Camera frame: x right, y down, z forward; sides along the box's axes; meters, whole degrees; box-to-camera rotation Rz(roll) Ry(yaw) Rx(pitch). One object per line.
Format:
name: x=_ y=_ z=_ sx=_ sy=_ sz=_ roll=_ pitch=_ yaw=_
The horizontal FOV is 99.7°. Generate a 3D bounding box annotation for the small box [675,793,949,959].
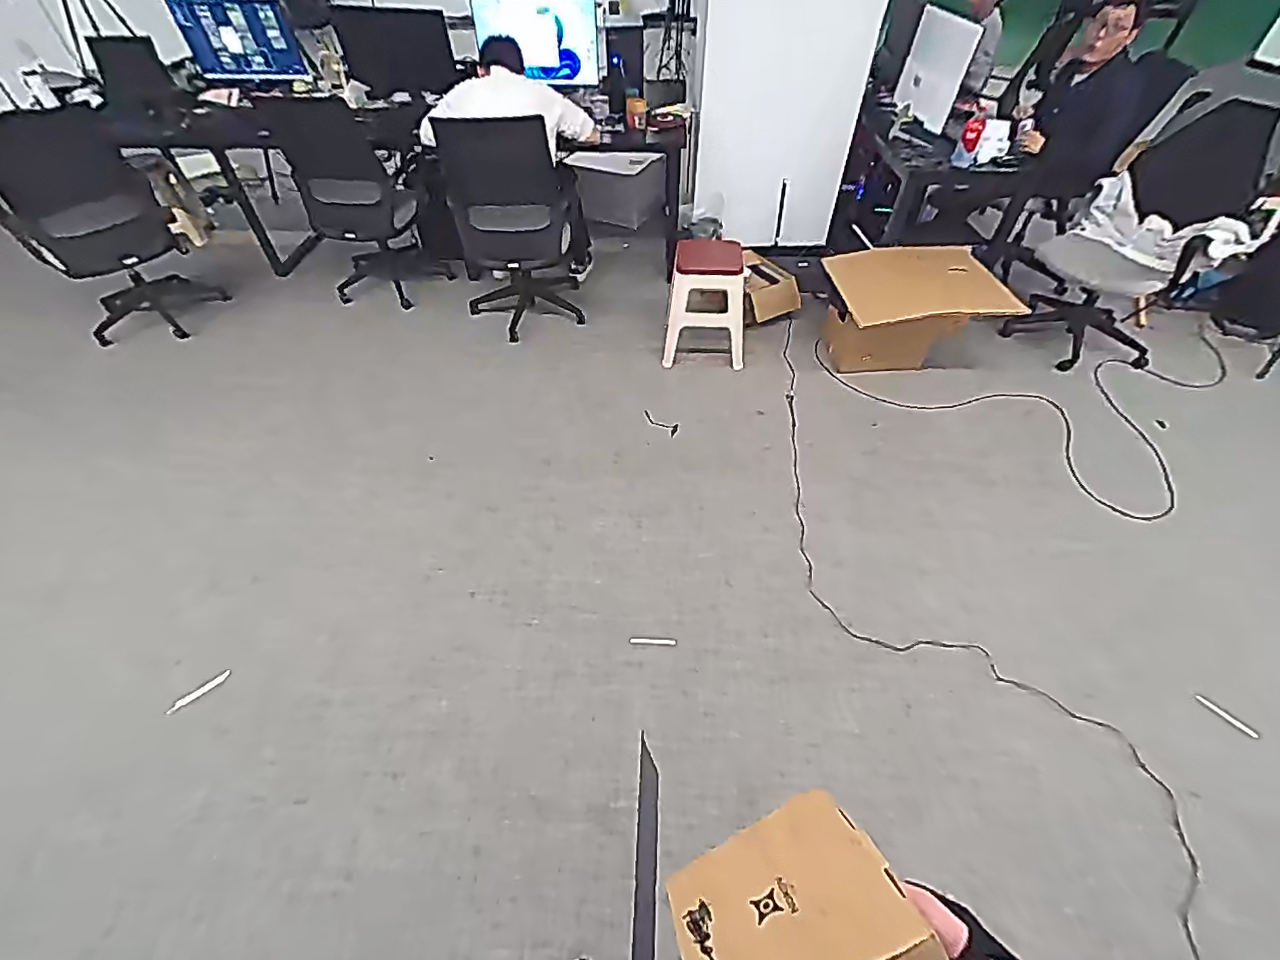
small box: x=0.153 y=0.419 z=0.451 sx=0.179 sy=0.168 sz=0.176 roll=-26 pitch=93 yaw=-5
